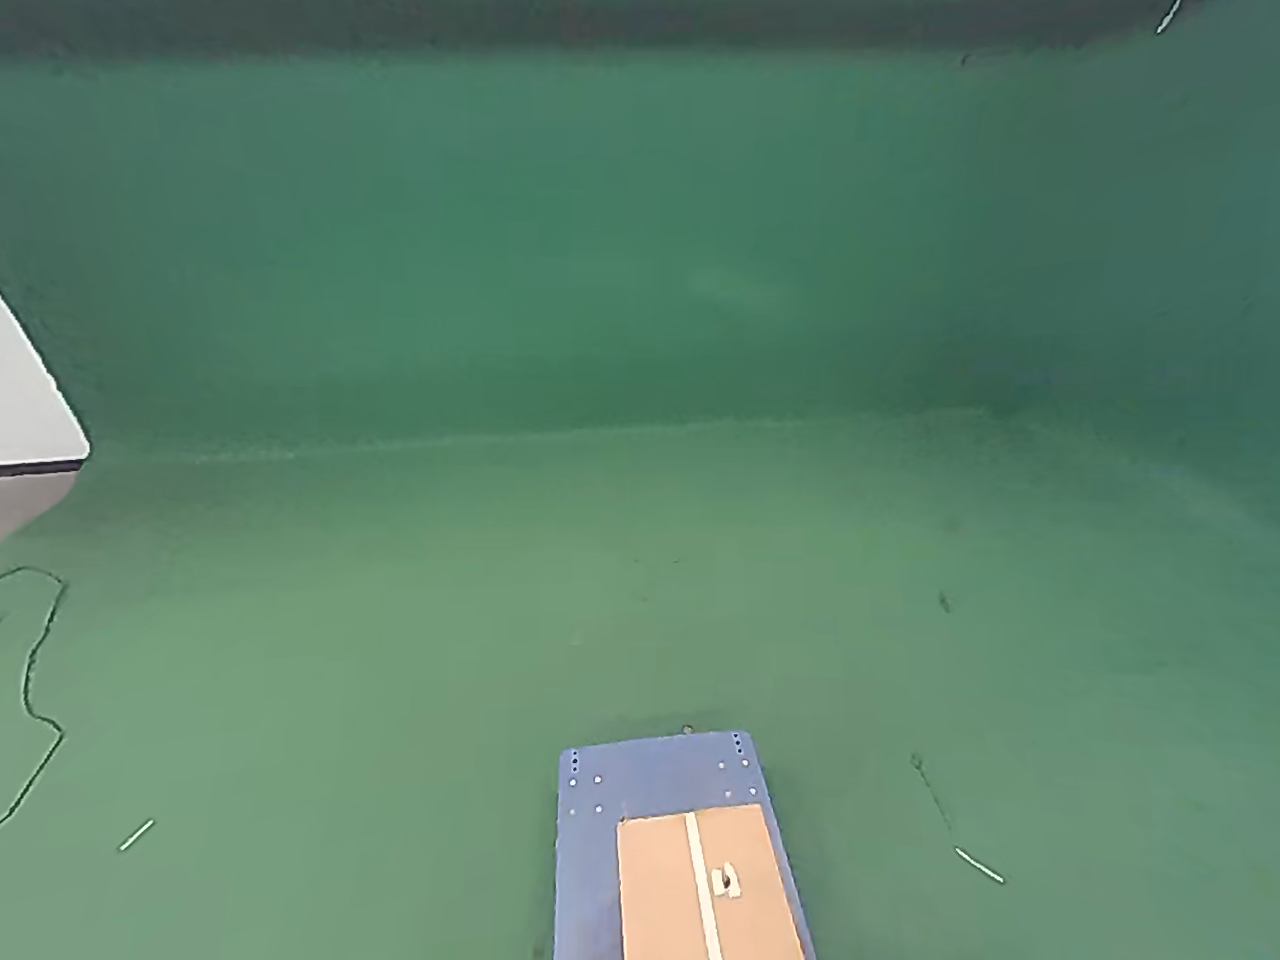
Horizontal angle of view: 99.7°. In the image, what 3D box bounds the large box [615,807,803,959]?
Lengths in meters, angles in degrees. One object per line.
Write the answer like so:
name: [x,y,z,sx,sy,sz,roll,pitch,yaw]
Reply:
large box: [0.128,0.942,1.052,0.320,0.320,0.408,-4,30,-5]
